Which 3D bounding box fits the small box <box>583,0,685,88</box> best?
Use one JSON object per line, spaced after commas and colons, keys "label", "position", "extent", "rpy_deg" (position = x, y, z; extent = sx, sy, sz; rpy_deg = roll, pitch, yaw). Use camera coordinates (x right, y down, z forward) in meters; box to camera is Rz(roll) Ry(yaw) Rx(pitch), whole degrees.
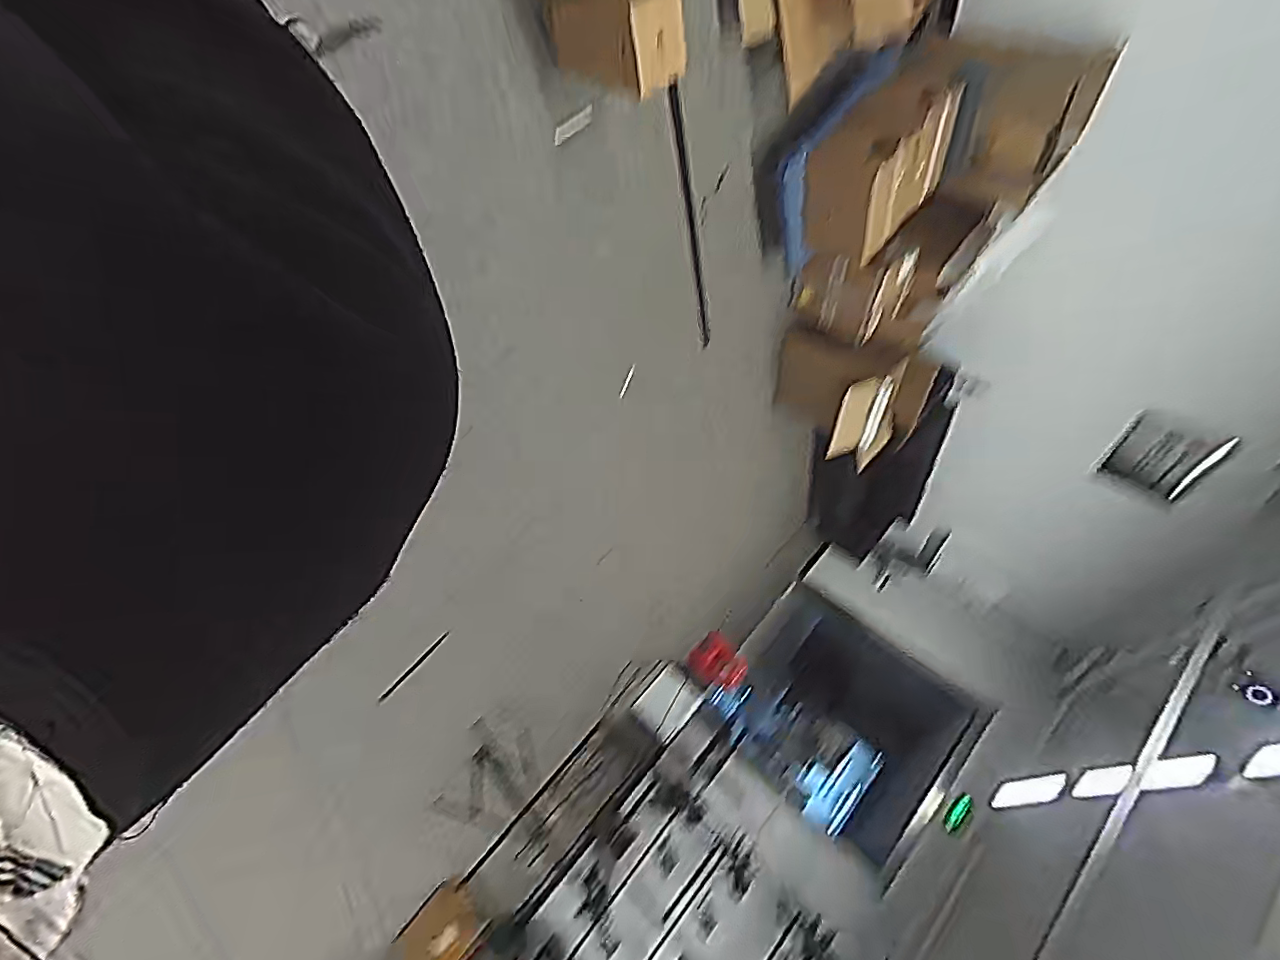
{"label": "small box", "position": [-0.014, -1.077, 1.287], "extent": [0.168, 0.176, 0.179], "rpy_deg": [-44, 150, -17]}

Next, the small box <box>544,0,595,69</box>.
{"label": "small box", "position": [-0.121, -1.174, 1.368], "extent": [0.179, 0.176, 0.168], "rpy_deg": [-46, 150, -16]}
